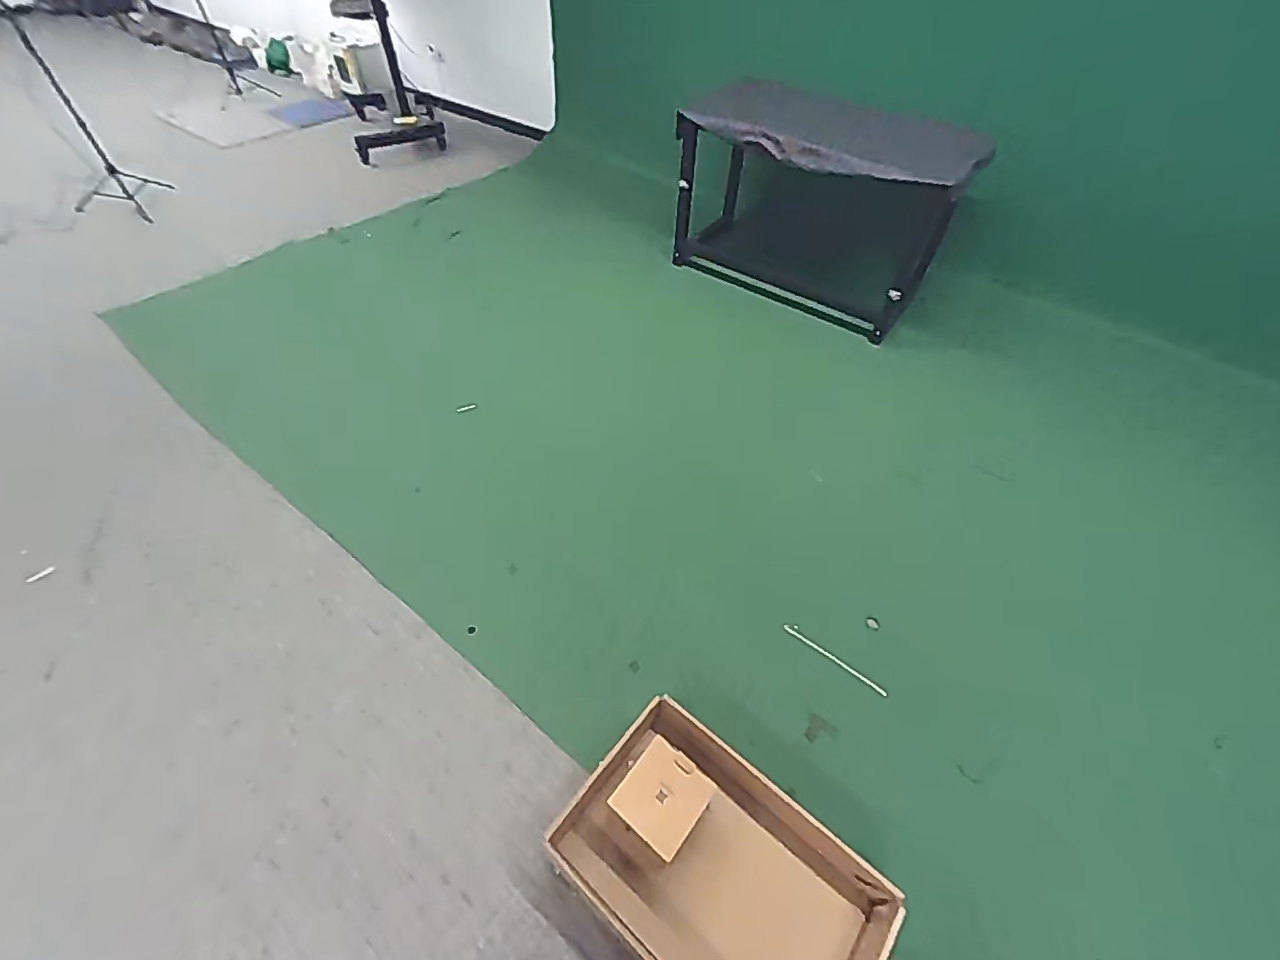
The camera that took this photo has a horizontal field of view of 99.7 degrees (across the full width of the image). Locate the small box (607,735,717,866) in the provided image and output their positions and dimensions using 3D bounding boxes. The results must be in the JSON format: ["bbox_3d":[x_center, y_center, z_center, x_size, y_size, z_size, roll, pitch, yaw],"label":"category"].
[{"bbox_3d":[0.047,0.703,1.179,0.168,0.176,0.179,33,57,23],"label":"small box"}]
